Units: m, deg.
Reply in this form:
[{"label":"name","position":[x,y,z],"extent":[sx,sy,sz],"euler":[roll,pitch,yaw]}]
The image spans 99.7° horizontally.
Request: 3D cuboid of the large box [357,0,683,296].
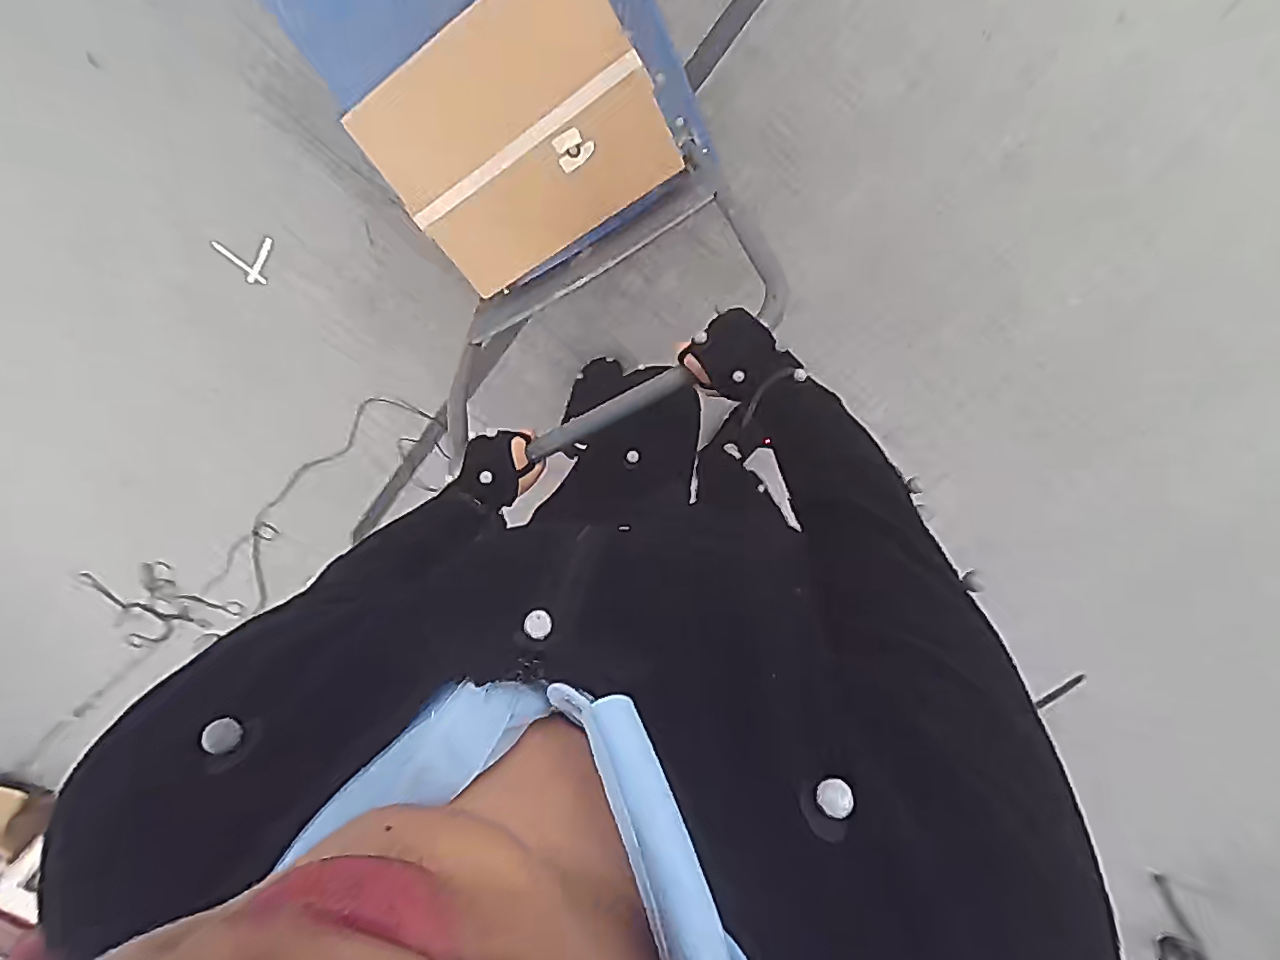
[{"label":"large box","position":[-0.186,-0.602,0.935],"extent":[0.408,0.320,0.320],"euler":[-28,127,16]}]
